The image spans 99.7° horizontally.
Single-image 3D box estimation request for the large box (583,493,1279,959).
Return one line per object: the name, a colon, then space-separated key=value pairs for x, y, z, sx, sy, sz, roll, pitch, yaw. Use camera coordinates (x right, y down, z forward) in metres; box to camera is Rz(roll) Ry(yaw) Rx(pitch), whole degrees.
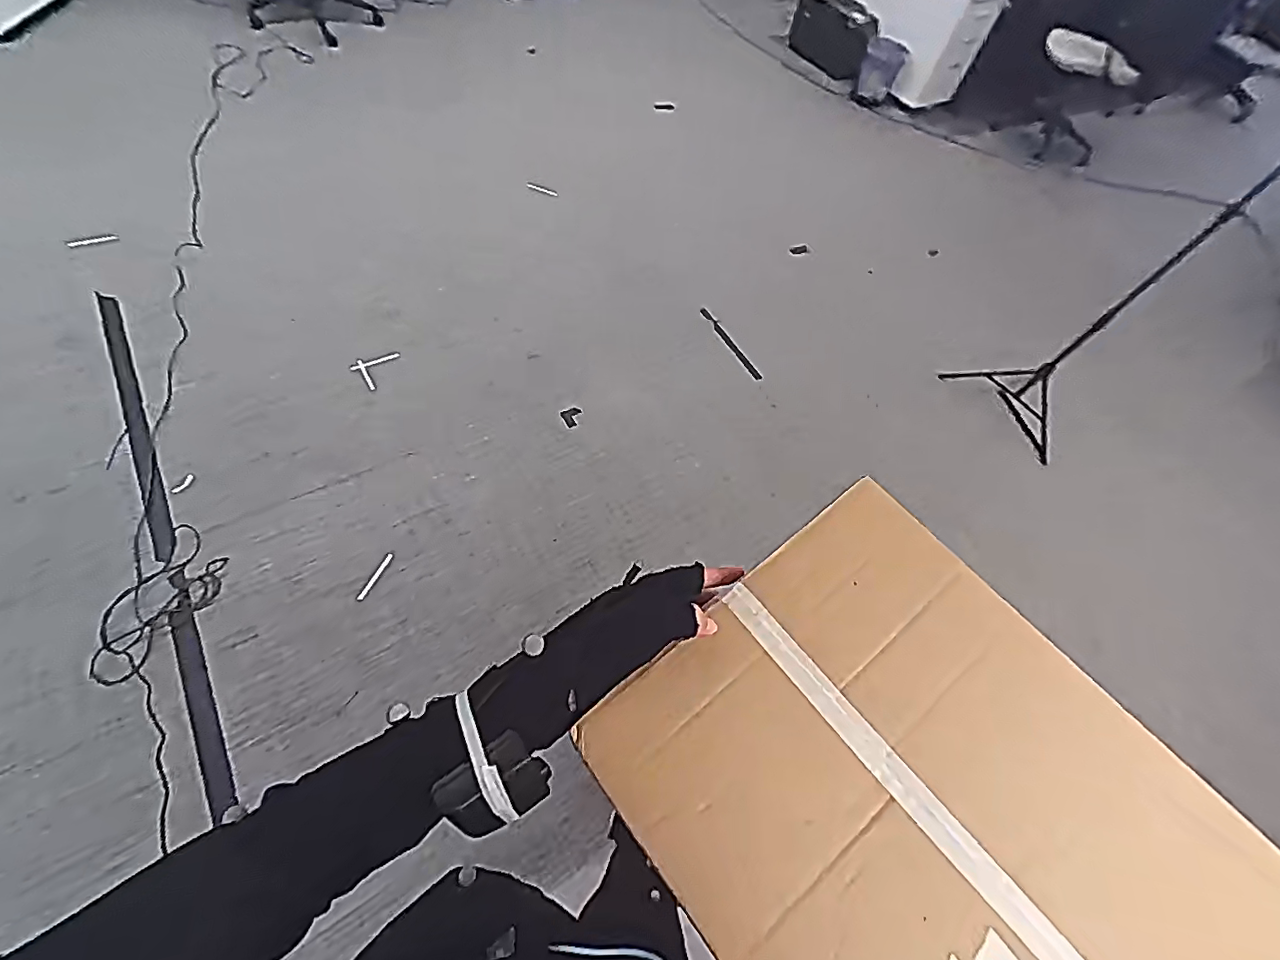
large box: x=0.196 y=0.294 z=0.498 sx=0.320 sy=0.320 sz=0.408 roll=-36 pitch=70 yaw=-15
